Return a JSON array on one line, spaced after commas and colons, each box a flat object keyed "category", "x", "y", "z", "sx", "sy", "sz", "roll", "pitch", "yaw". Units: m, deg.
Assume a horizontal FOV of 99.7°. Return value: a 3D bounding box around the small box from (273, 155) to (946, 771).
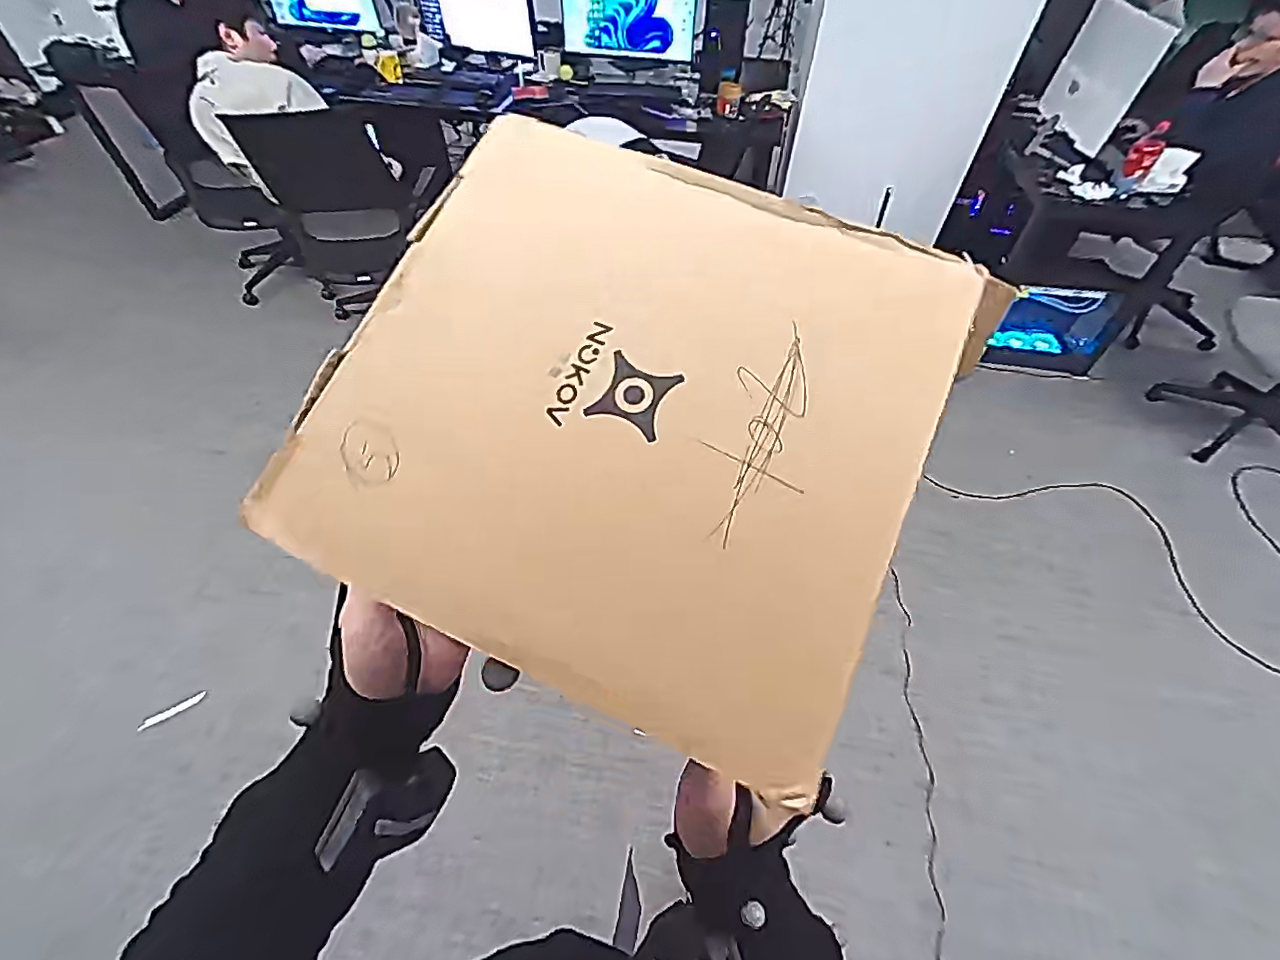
[{"category": "small box", "x": -0.003, "y": 0.000, "z": 0.252, "sx": 0.179, "sy": 0.176, "sz": 0.168, "roll": 21, "pitch": 76, "yaw": 7}]
